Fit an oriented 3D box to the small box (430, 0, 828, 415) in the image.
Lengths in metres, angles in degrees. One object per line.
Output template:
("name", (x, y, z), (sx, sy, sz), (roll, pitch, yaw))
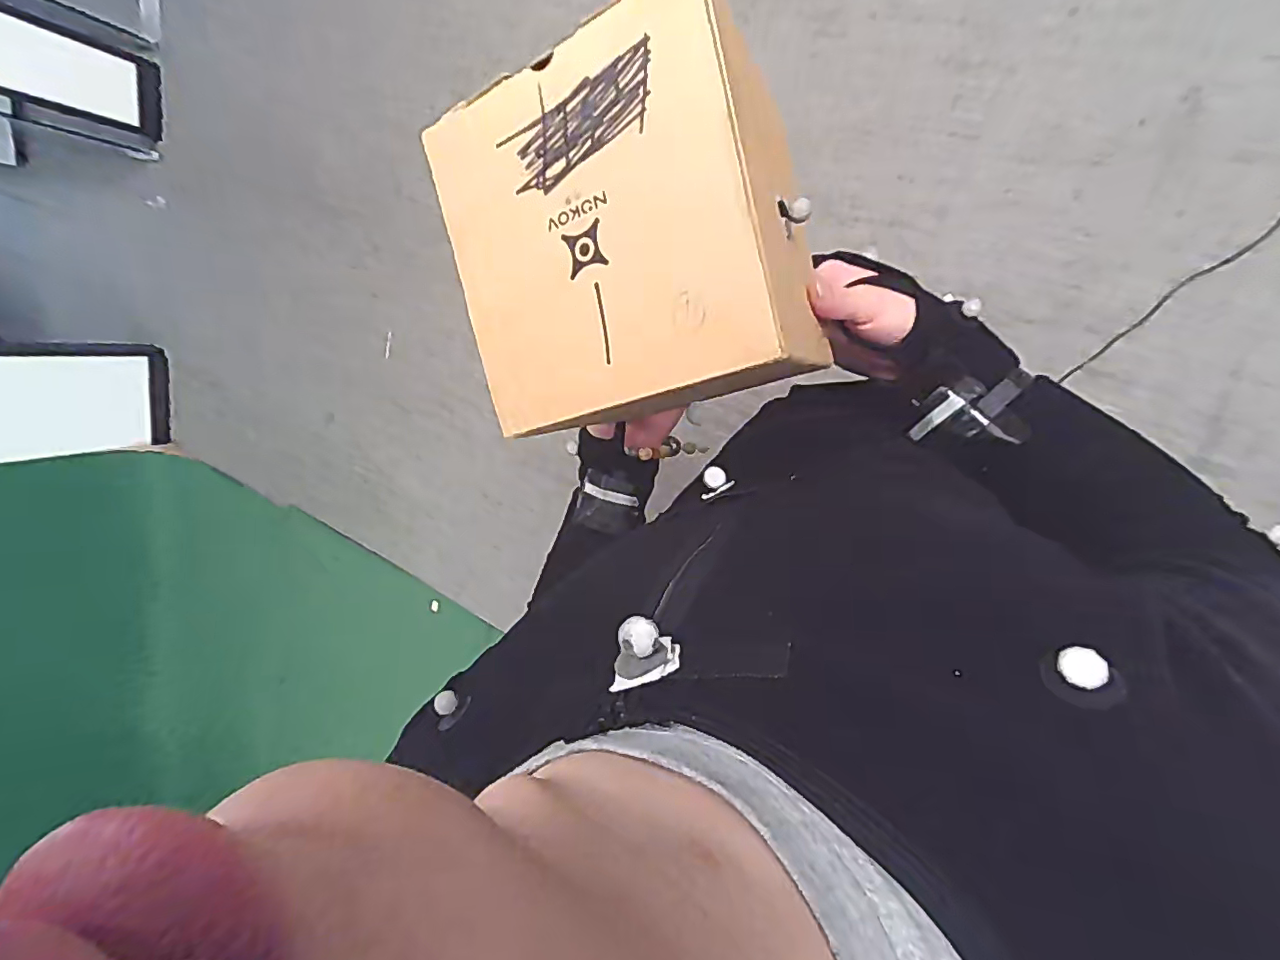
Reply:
("small box", (0.009, -0.145, 0.336), (0.168, 0.176, 0.179), (-11, 95, 28))
